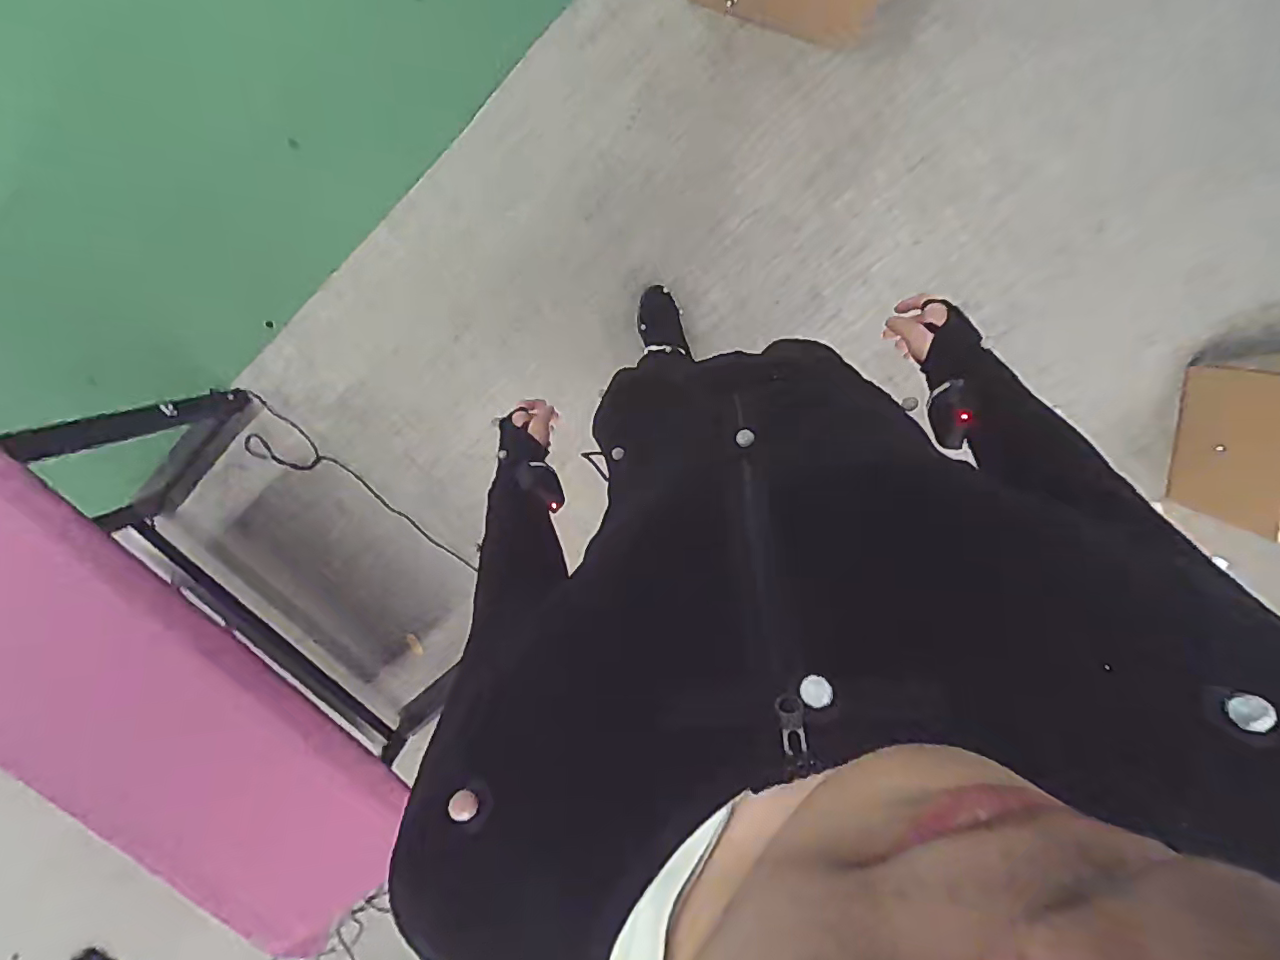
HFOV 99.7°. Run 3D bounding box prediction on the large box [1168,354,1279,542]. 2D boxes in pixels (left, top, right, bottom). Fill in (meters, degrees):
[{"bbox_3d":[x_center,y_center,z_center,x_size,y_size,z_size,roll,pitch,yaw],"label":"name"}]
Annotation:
[{"bbox_3d":[1.660,-0.098,1.385,0.320,0.320,0.408,-8,106,4],"label":"large box"}]
